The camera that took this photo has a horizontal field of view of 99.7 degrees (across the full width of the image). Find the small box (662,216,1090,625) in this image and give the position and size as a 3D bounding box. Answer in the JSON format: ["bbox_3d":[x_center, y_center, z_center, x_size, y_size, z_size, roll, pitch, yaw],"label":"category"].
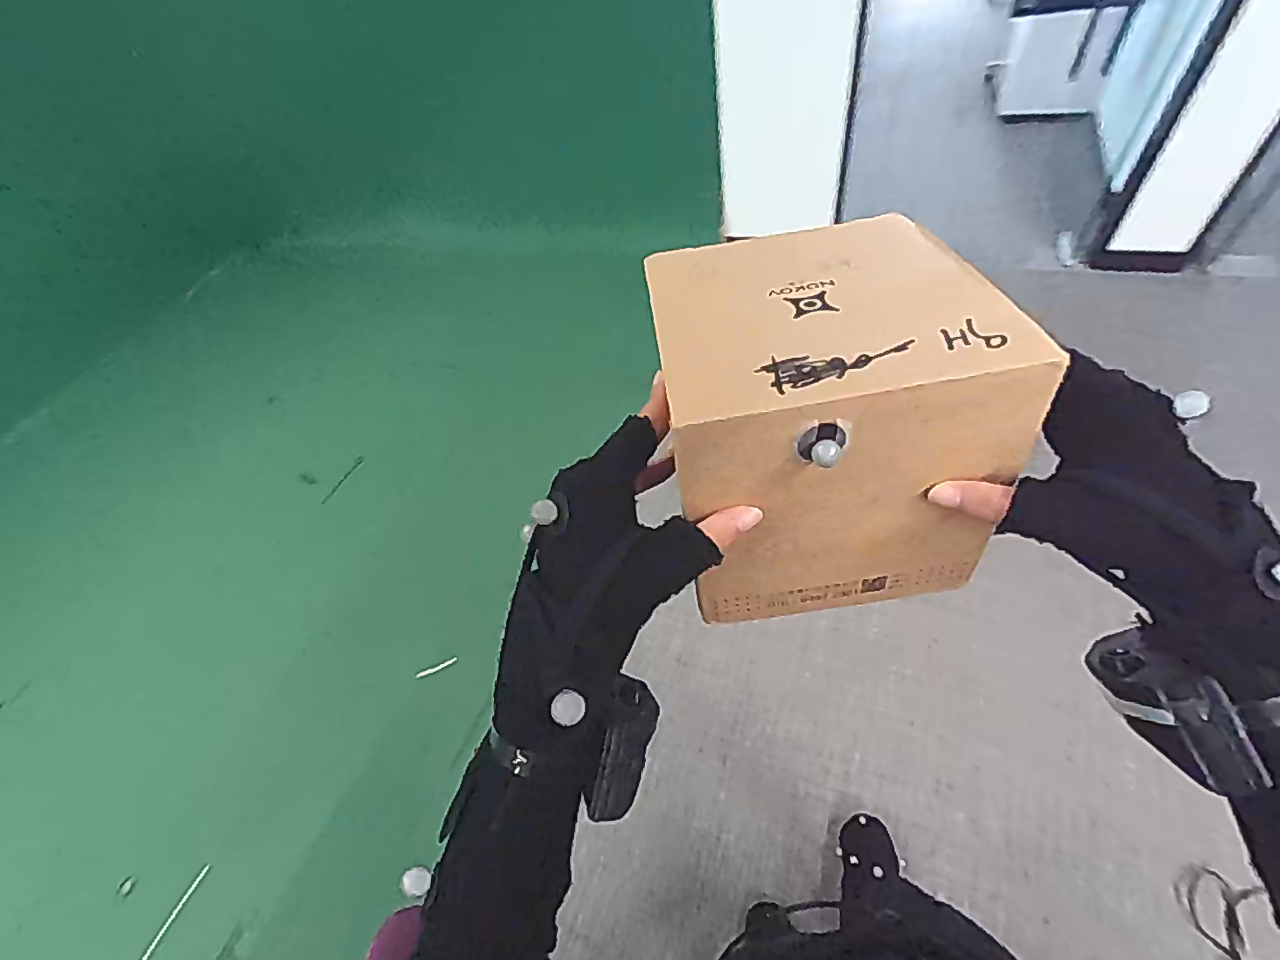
[{"bbox_3d":[0.108,-0.036,0.335,0.168,0.176,0.179,-9,44,5],"label":"small box"}]
